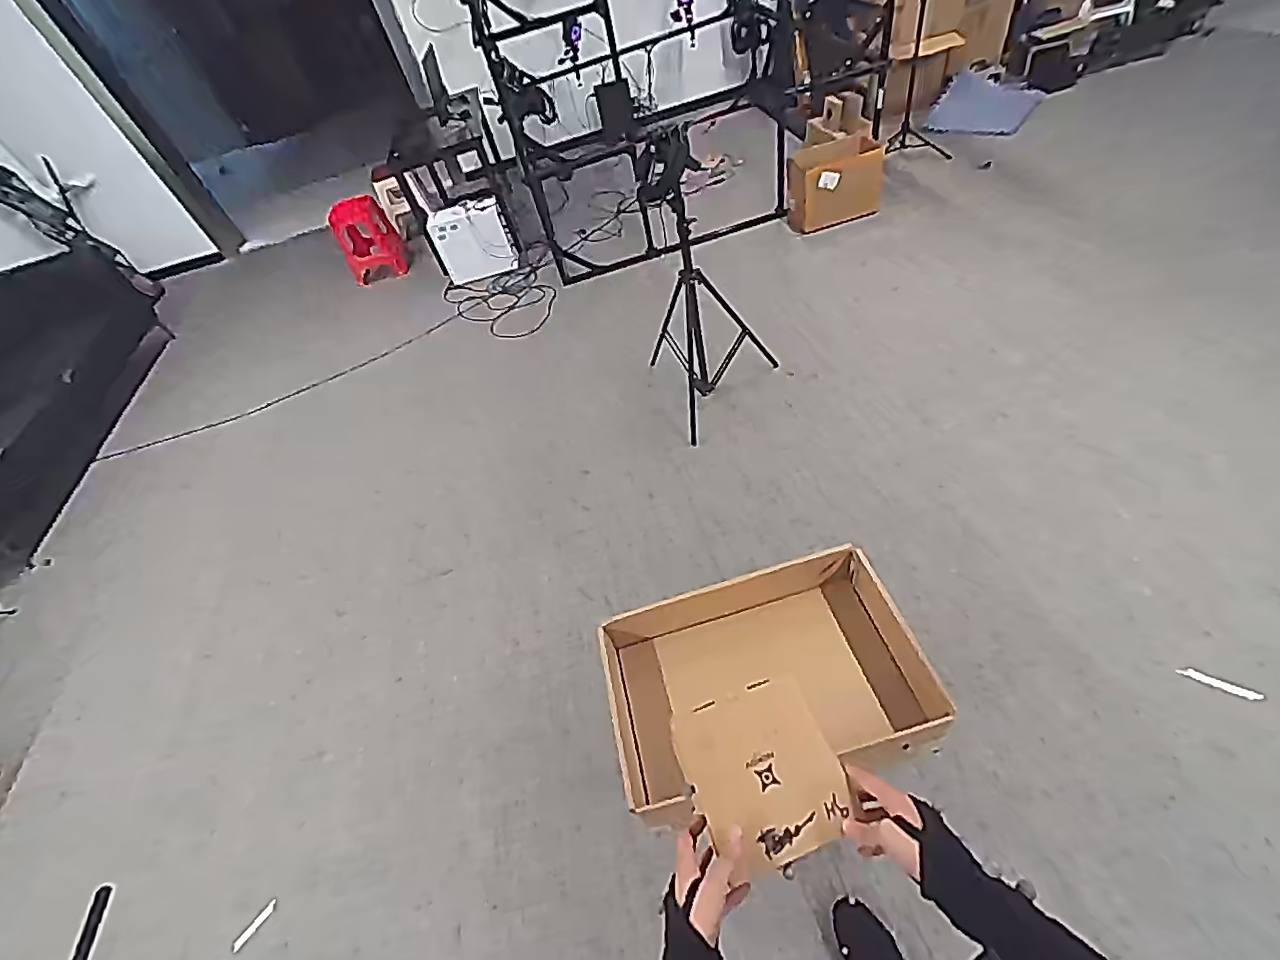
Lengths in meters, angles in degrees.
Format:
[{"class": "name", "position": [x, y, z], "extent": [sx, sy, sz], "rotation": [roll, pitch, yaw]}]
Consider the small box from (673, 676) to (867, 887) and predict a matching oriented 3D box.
[{"class": "small box", "position": [0.146, 0.379, 0.682], "extent": [0.168, 0.176, 0.179], "rotation": [-18, 56, -8]}]
